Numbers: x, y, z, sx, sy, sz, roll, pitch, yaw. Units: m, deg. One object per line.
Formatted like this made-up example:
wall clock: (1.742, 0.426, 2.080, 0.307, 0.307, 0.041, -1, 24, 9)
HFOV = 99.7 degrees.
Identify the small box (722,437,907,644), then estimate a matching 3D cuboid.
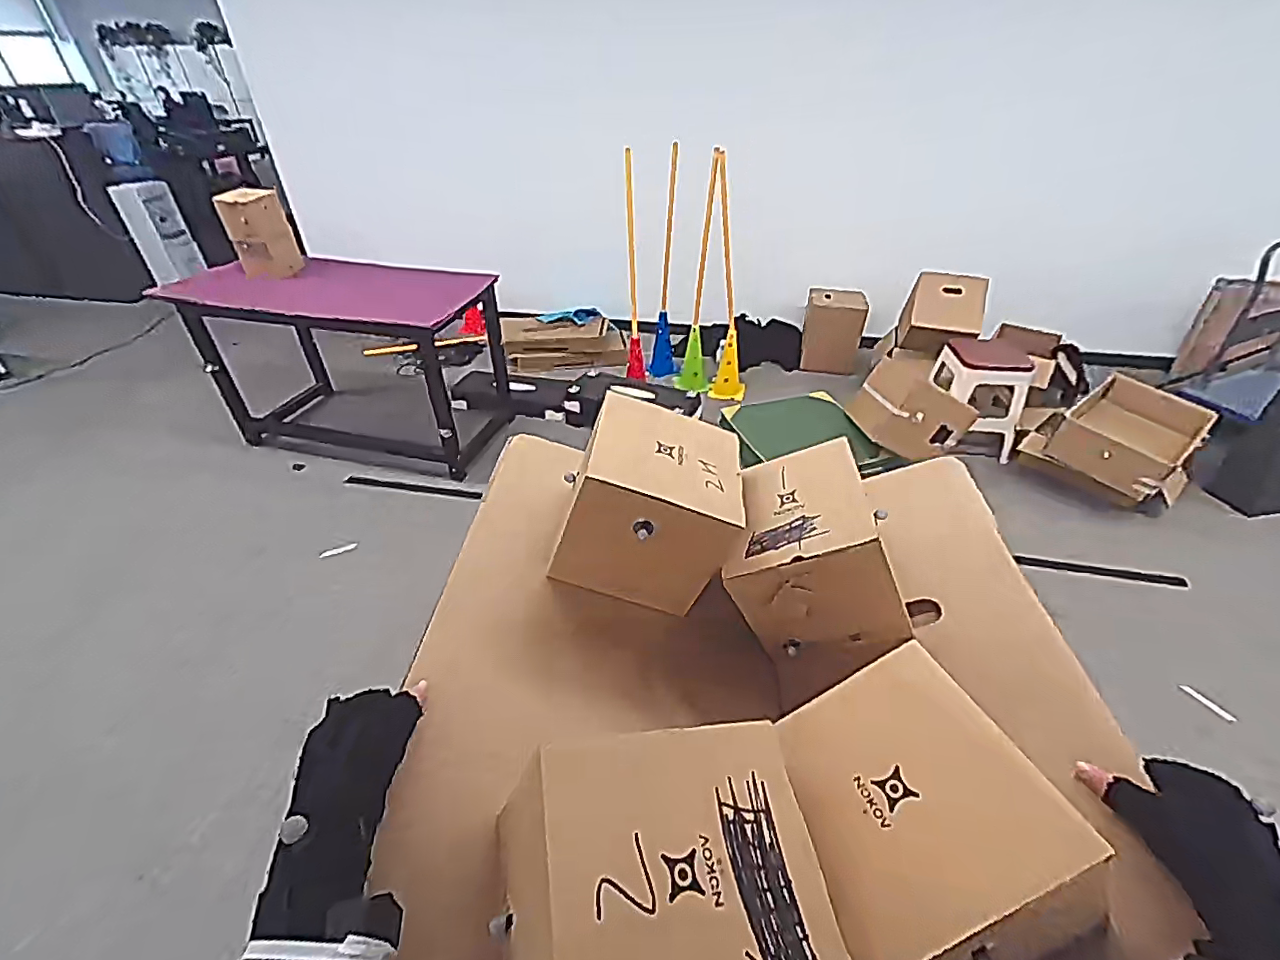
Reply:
small box: (0.210, 0.083, 0.667, 0.168, 0.176, 0.179, -19, 34, 22)
